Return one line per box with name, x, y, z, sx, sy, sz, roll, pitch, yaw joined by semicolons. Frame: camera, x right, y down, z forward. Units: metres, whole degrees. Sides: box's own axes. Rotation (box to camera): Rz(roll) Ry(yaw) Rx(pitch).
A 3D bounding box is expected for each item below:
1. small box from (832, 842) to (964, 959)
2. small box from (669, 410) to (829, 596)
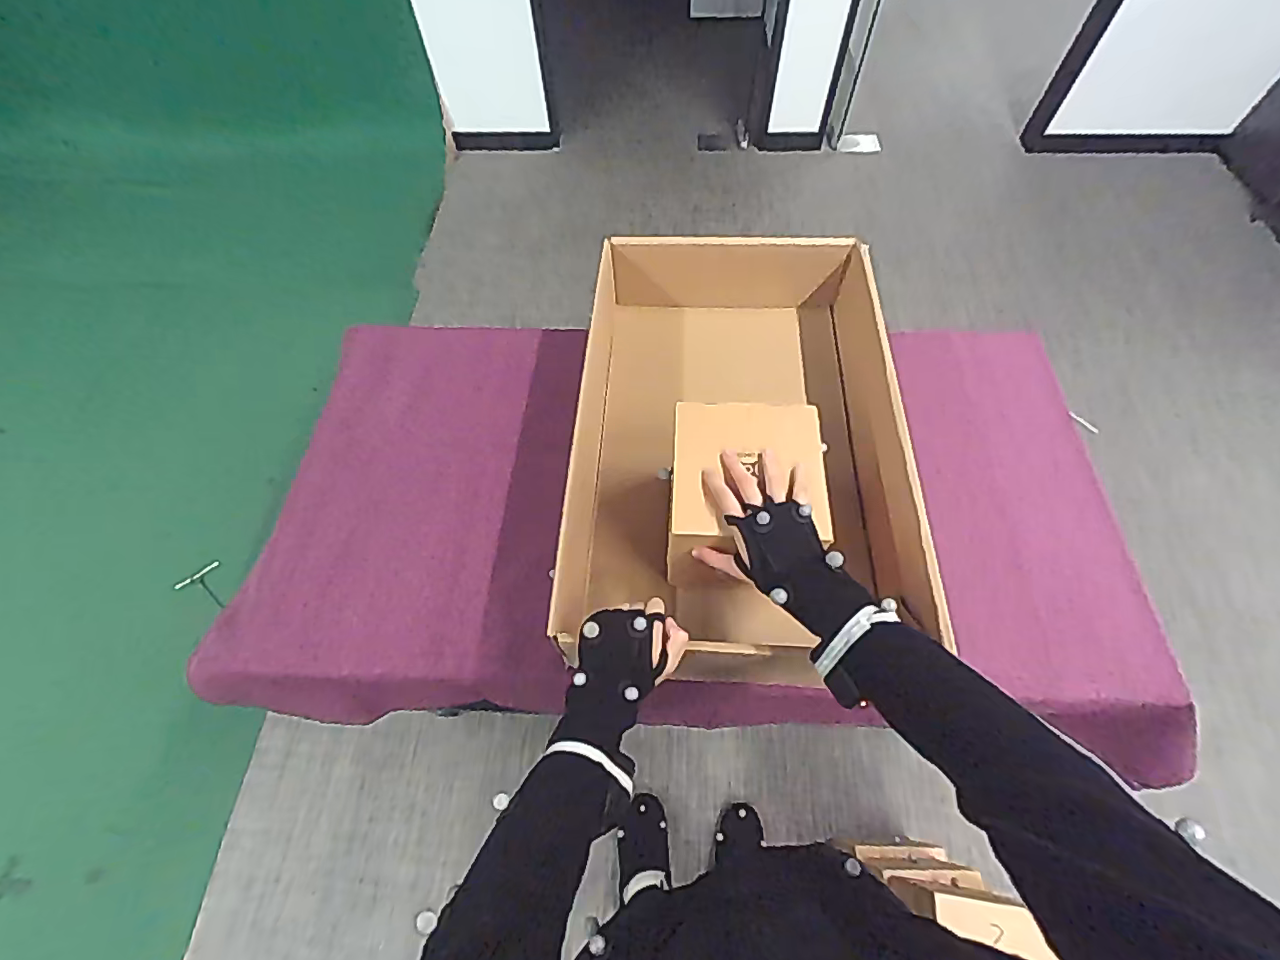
small box;0.507;0.838;1.091;0.179;0.176;0.168;0;61;3
small box;0.122;0.034;0.663;0.168;0.176;0.179;2;58;4
